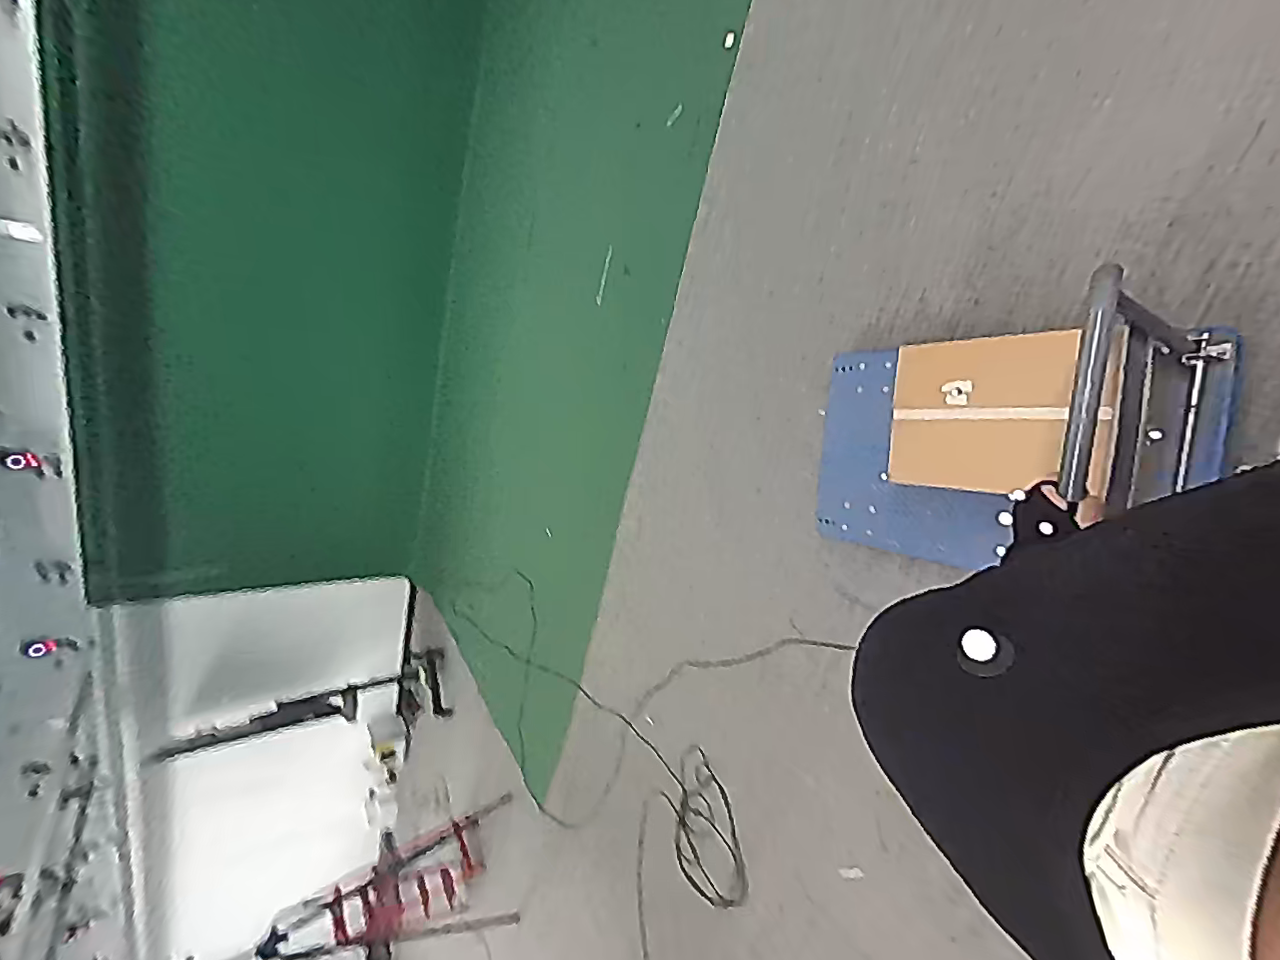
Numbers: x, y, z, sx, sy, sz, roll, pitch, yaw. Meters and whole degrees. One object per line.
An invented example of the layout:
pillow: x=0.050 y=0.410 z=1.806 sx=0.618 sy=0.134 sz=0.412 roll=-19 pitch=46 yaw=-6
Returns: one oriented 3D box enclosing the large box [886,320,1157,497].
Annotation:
large box: x=0.815 y=-0.140 z=1.176 sx=0.408 sy=0.320 sz=0.320 roll=9 pitch=97 yaw=52
